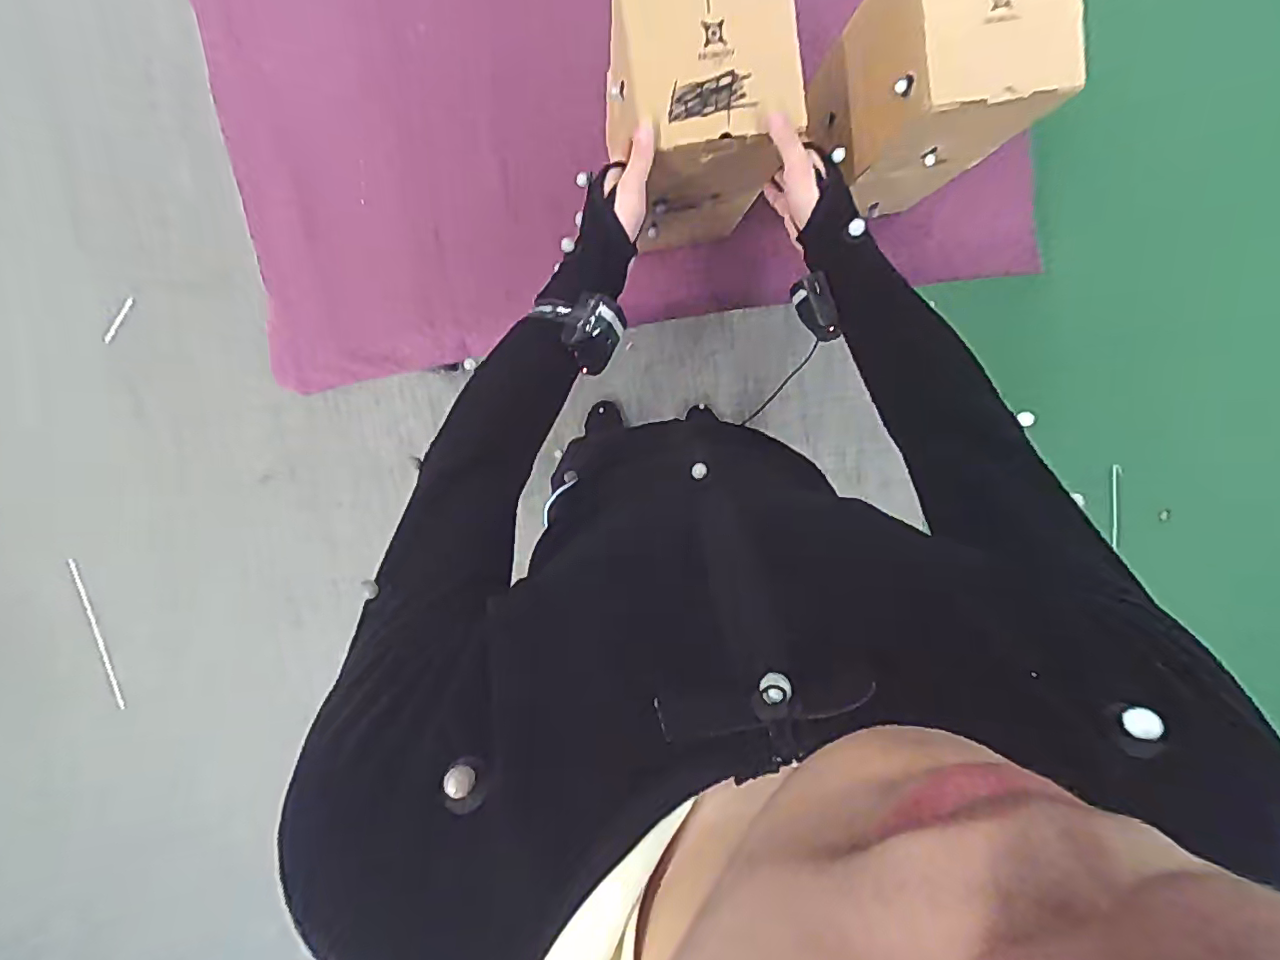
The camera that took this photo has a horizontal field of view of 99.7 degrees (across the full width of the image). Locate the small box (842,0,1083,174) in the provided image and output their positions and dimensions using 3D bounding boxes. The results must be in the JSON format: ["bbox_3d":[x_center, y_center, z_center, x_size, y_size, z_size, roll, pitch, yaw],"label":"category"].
[{"bbox_3d":[0.344,-0.477,0.605,0.168,0.176,0.179,-10,98,-3],"label":"small box"}]

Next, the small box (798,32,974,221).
[{"bbox_3d":[0.335,-0.496,0.766,0.168,0.176,0.179,-10,98,-2],"label":"small box"}]

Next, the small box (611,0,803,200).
[{"bbox_3d":[0.062,-0.426,0.590,0.168,0.176,0.179,-10,98,-3],"label":"small box"}]
